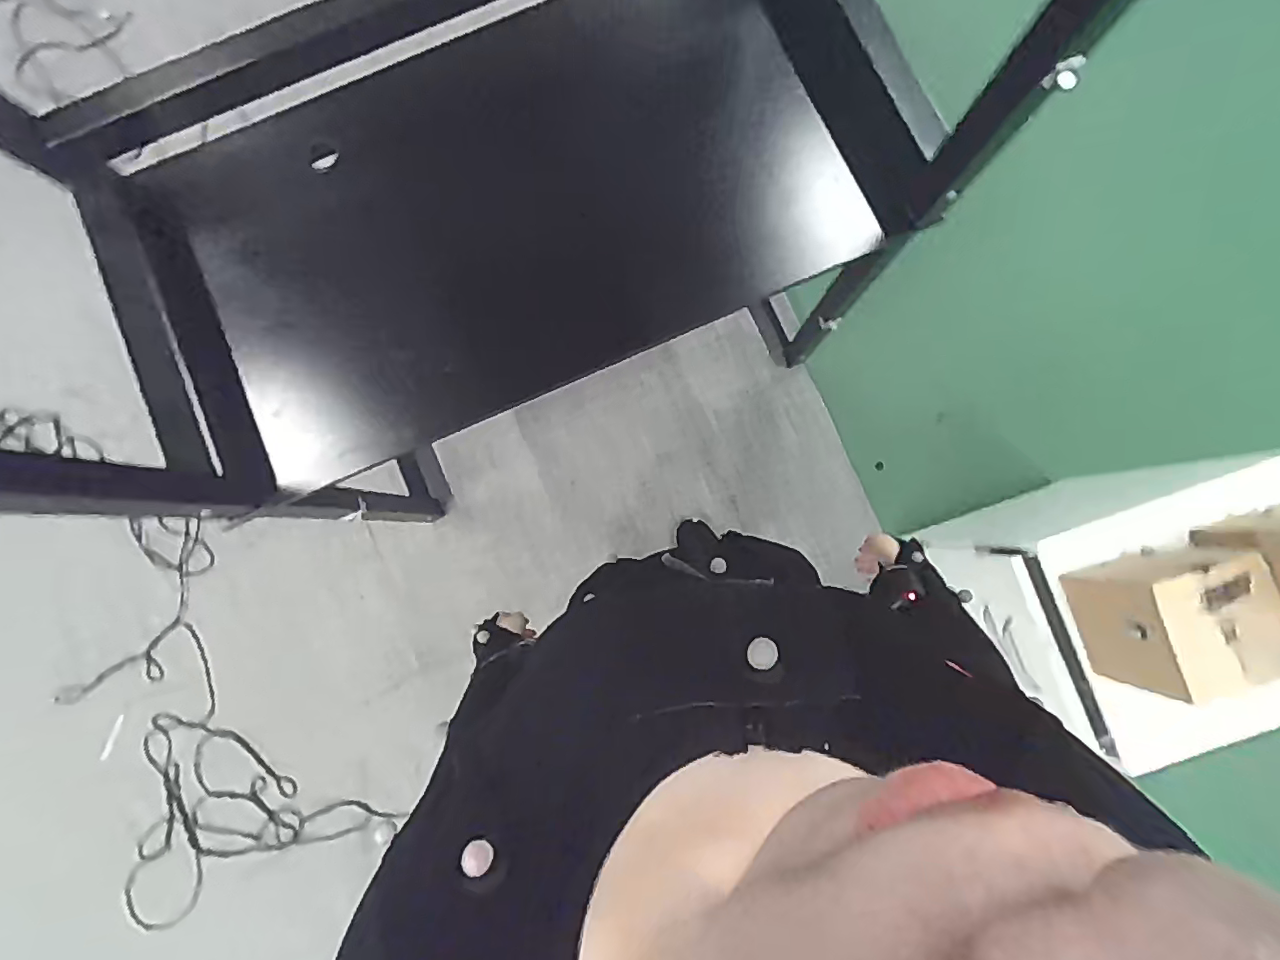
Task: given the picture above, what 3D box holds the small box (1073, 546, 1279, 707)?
[{"bbox_3d":[0.798,0.203,0.798,0.168,0.176,0.179,-17,85,-1],"label":"small box"}]
